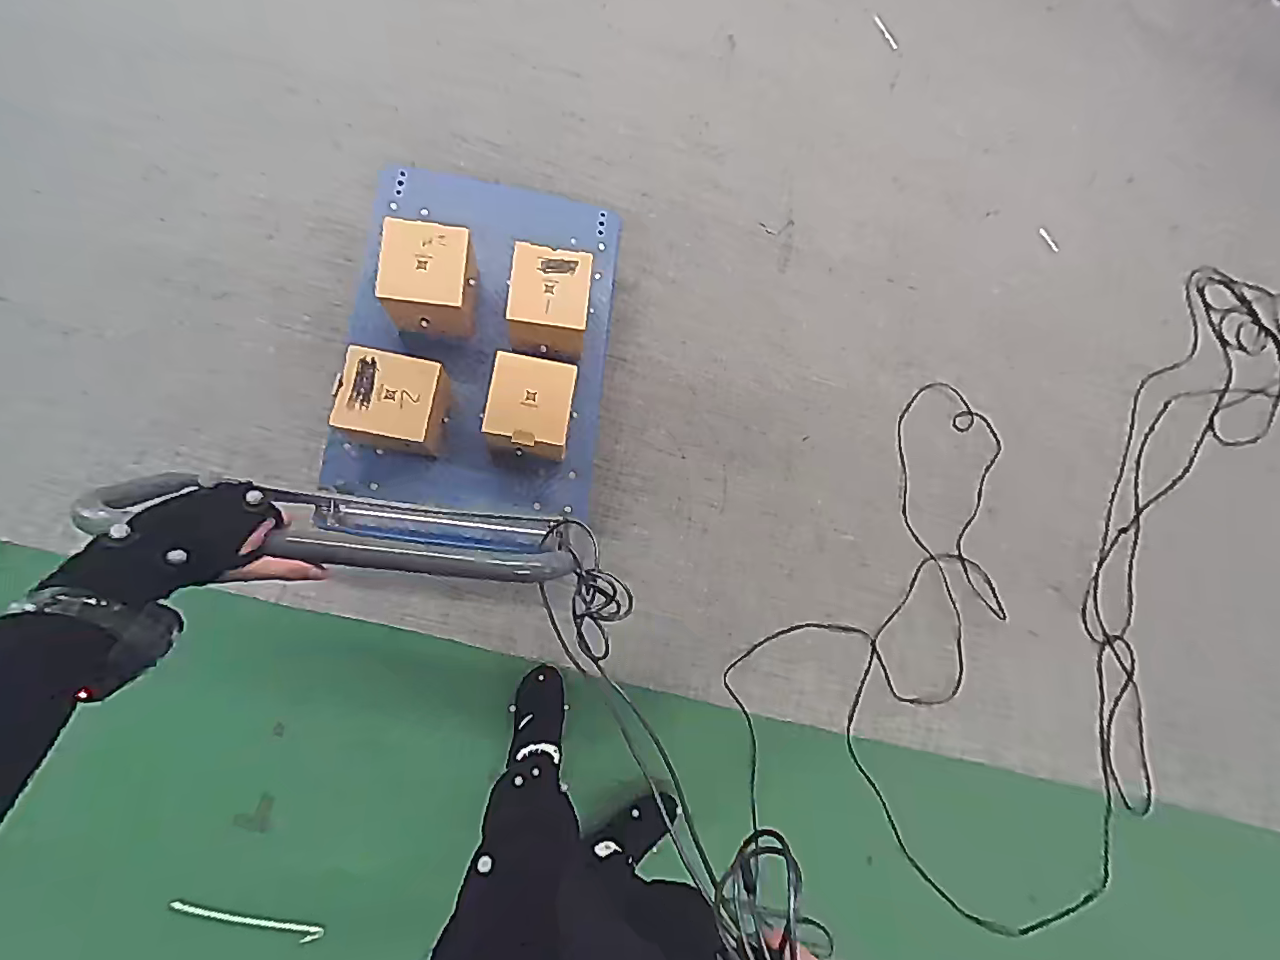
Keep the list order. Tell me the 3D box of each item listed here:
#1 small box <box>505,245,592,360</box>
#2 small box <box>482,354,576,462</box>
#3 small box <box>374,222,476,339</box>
[{"bbox_3d":[-0.203,-0.388,1.206,0.168,0.176,0.179,6,82,-8],"label":"small box"},{"bbox_3d":[-0.235,-0.147,1.168,0.168,0.176,0.179,9,81,-8],"label":"small box"},{"bbox_3d":[-0.454,-0.421,1.170,0.168,0.176,0.179,4,81,-9],"label":"small box"}]
